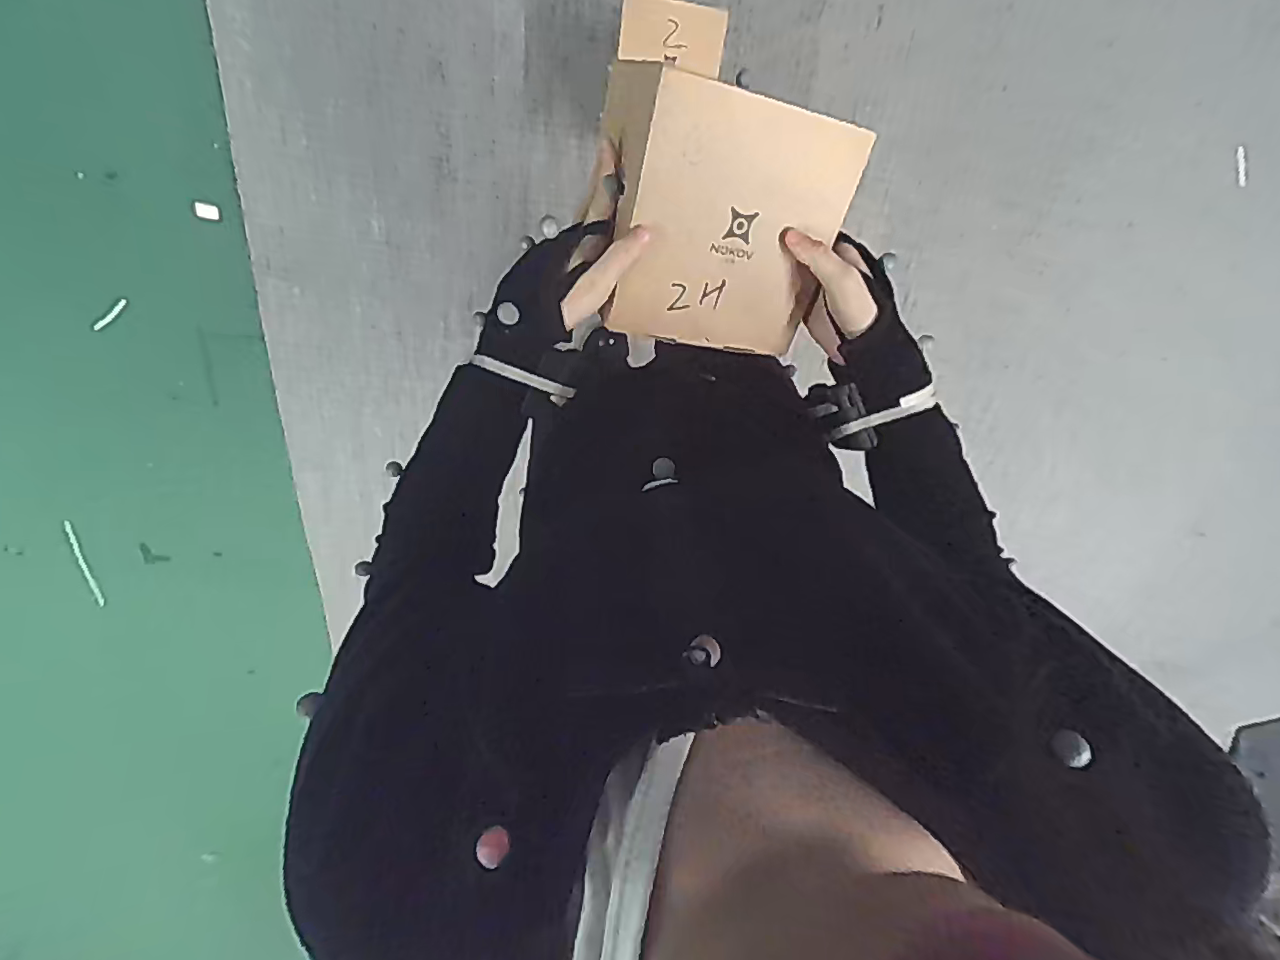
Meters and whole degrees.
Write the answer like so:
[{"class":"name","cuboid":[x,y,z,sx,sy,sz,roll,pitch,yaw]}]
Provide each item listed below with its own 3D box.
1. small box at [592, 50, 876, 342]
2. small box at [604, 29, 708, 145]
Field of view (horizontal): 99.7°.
[{"class":"small box","cuboid":[0.060,-0.246,0.476,0.168,0.176,0.179,4,126,-18]},{"class":"small box","cuboid":[0.022,-0.760,1.090,0.168,0.176,0.179,9,118,-9]}]
